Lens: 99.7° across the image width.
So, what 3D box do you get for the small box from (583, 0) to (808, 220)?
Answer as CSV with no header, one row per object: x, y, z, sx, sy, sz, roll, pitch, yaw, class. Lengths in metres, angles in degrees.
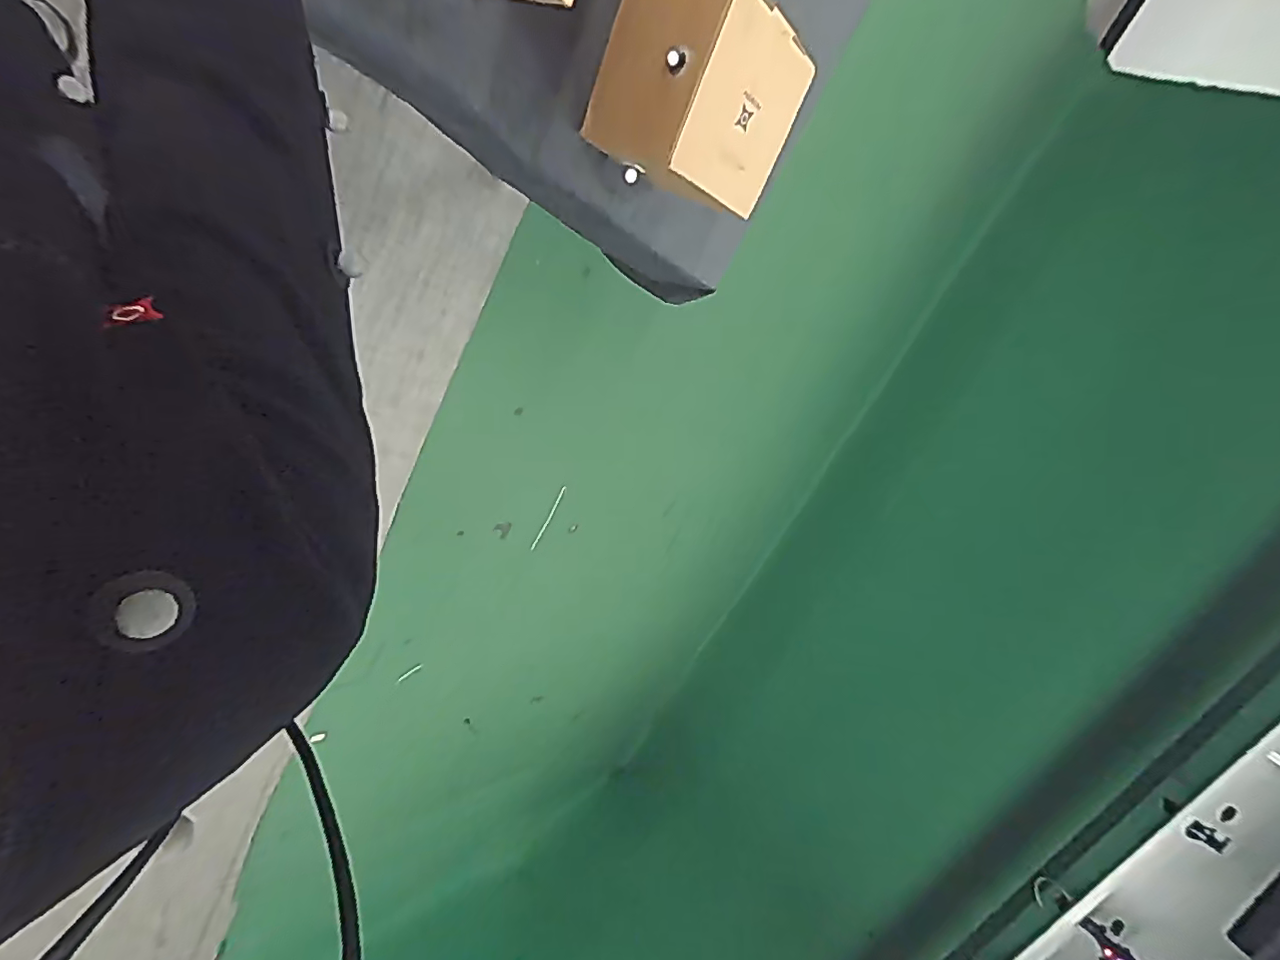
0.058,-0.445,0.641,0.168,0.176,0.179,-2,124,-49,small box
